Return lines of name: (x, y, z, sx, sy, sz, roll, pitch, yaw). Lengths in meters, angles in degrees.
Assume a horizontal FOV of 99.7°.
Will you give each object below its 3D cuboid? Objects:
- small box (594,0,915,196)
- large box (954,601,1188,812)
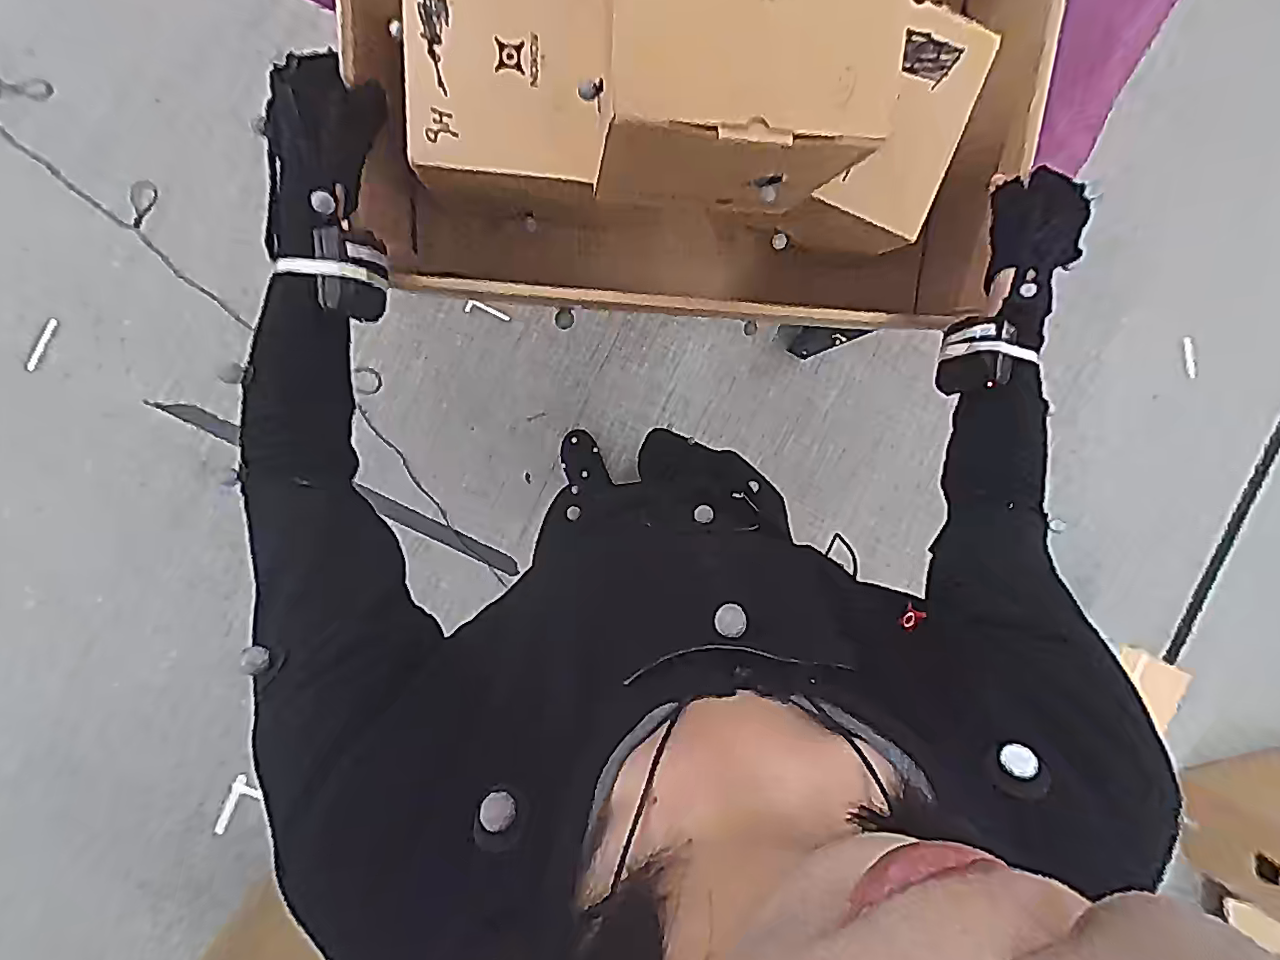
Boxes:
small box: (0.058, -0.303, 0.353, 0.168, 0.176, 0.179, 0, 102, -9)
large box: (1.191, 0.615, 1.531, 0.320, 0.320, 0.408, 23, 92, -6)
